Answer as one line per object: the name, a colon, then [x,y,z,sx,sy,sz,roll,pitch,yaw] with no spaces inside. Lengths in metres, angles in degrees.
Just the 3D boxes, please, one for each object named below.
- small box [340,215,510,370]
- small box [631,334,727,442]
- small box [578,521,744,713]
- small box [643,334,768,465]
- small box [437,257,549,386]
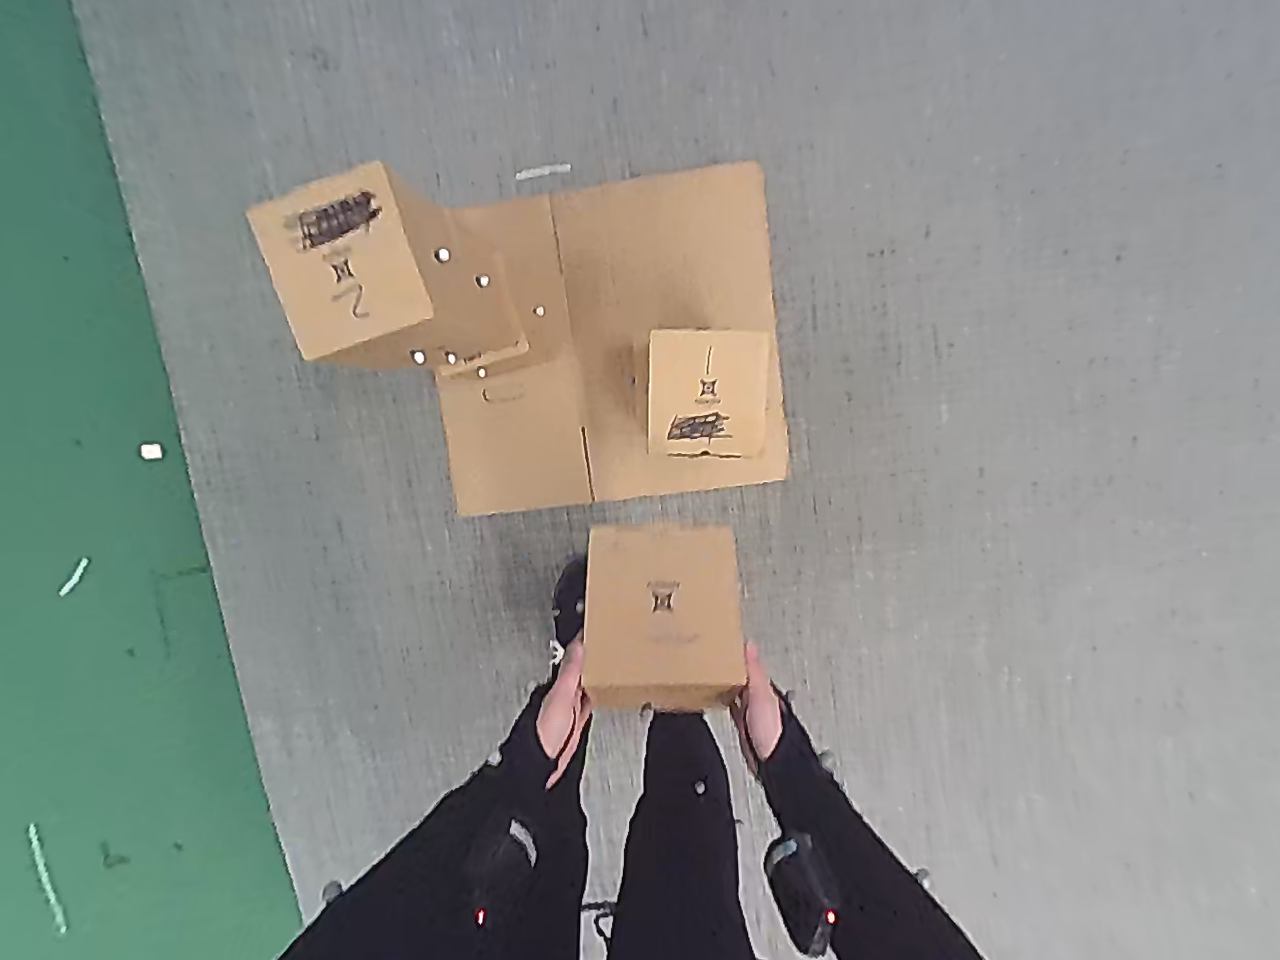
small box: [-0.317,-0.274,0.837,0.168,0.176,0.179,-14,95,5]
small box: [0.076,-0.163,0.986,0.168,0.176,0.179,-2,96,5]
small box: [0.023,0.164,0.635,0.168,0.176,0.179,0,58,1]
small box: [0.095,-0.119,0.823,0.168,0.176,0.179,2,96,4]
small box: [-0.283,-0.282,1.000,0.168,0.176,0.179,-14,96,6]
